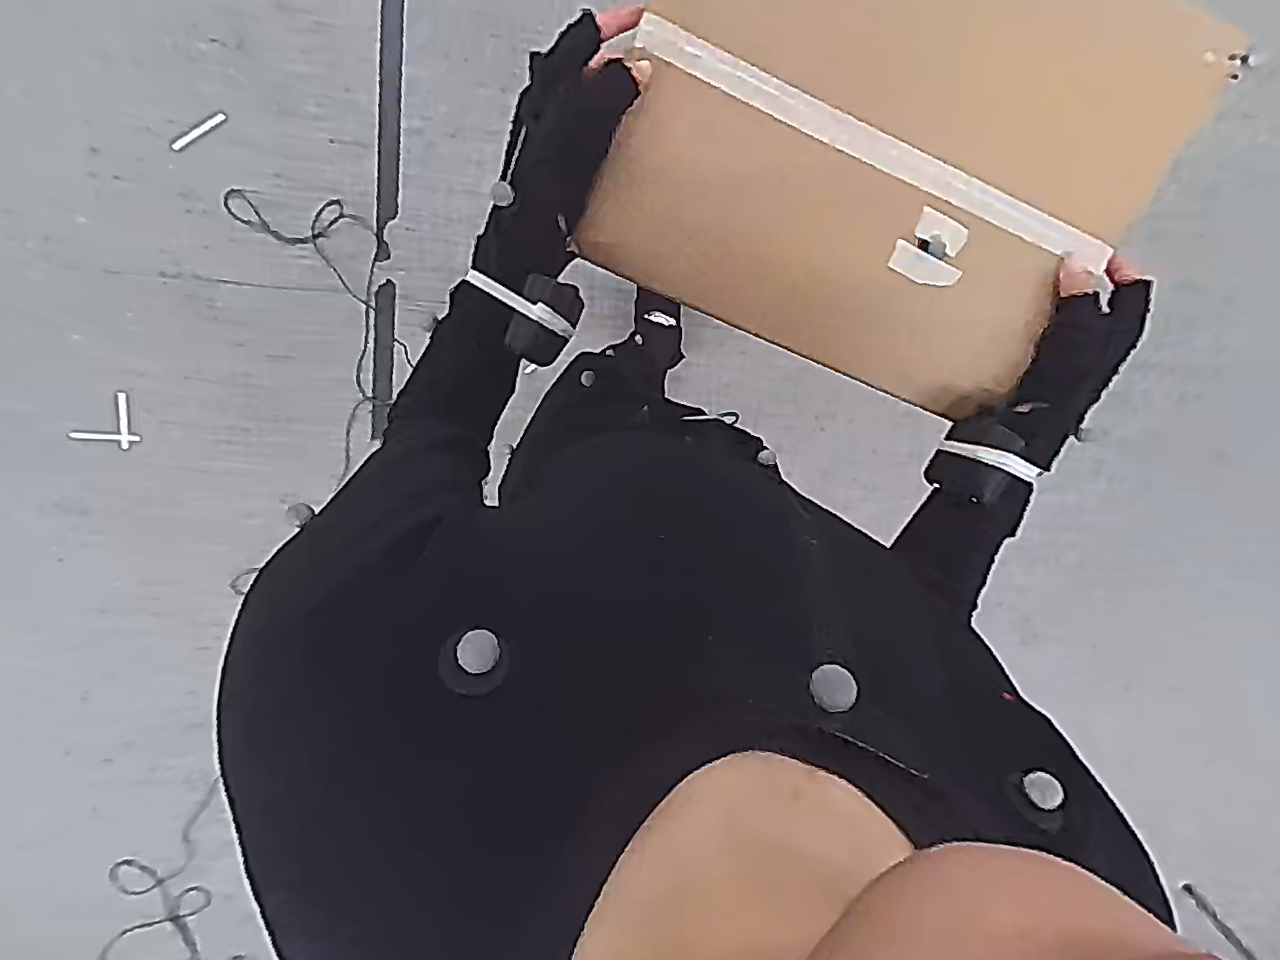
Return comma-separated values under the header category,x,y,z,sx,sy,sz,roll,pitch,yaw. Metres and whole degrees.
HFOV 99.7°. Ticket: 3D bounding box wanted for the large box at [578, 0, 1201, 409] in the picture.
category,x,y,z,sx,sy,sz,roll,pitch,yaw
large box,0.180,-0.317,0.566,0.408,0.320,0.320,20,112,-9
